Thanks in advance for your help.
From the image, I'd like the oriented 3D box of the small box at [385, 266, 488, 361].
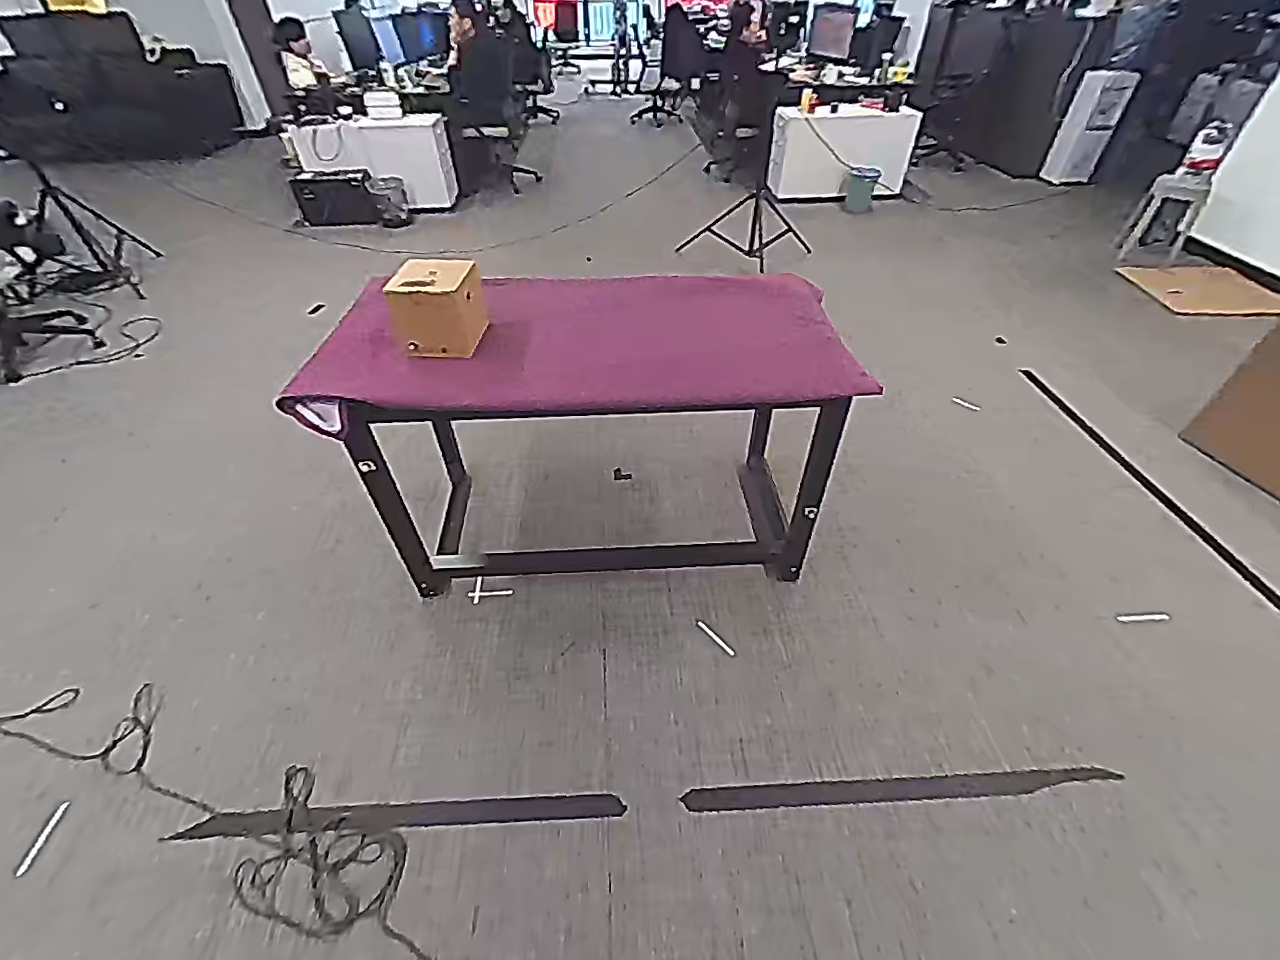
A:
[{"bbox_3d":[-0.480,-0.401,1.308,0.168,0.176,0.179,2,43,2],"label":"small box"}]
